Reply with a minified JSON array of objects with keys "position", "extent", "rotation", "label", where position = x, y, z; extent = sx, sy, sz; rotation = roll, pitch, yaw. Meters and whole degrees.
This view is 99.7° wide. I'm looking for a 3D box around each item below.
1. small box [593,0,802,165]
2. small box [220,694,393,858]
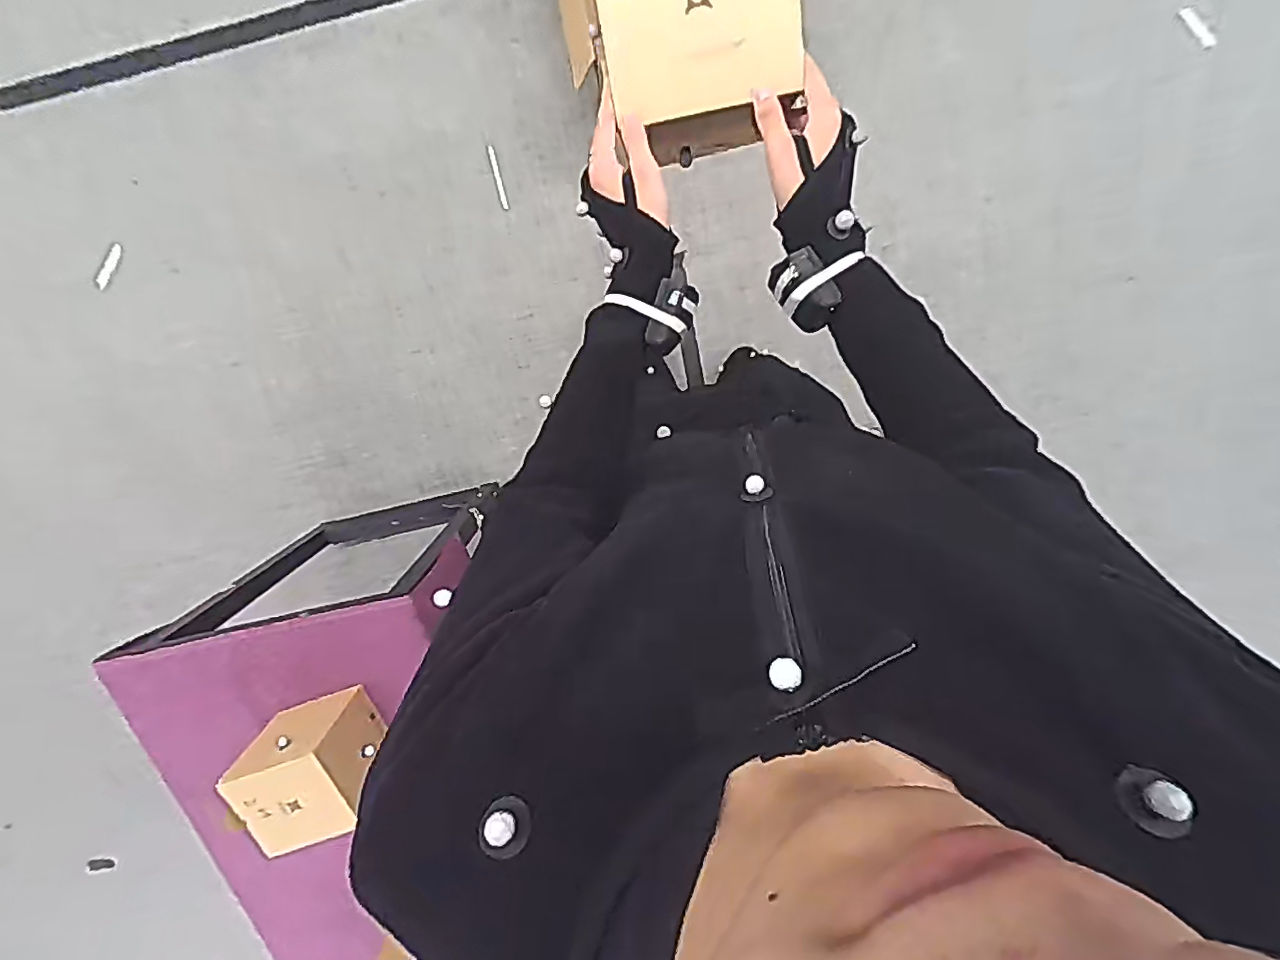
[{"position":[0.044,-0.424,0.506],"extent":[0.168,0.176,0.179],"rotation":[-9,109,6],"label":"small box"},{"position":[-0.565,0.509,0.952],"extent":[0.179,0.176,0.168],"rotation":[-19,106,5],"label":"small box"}]
